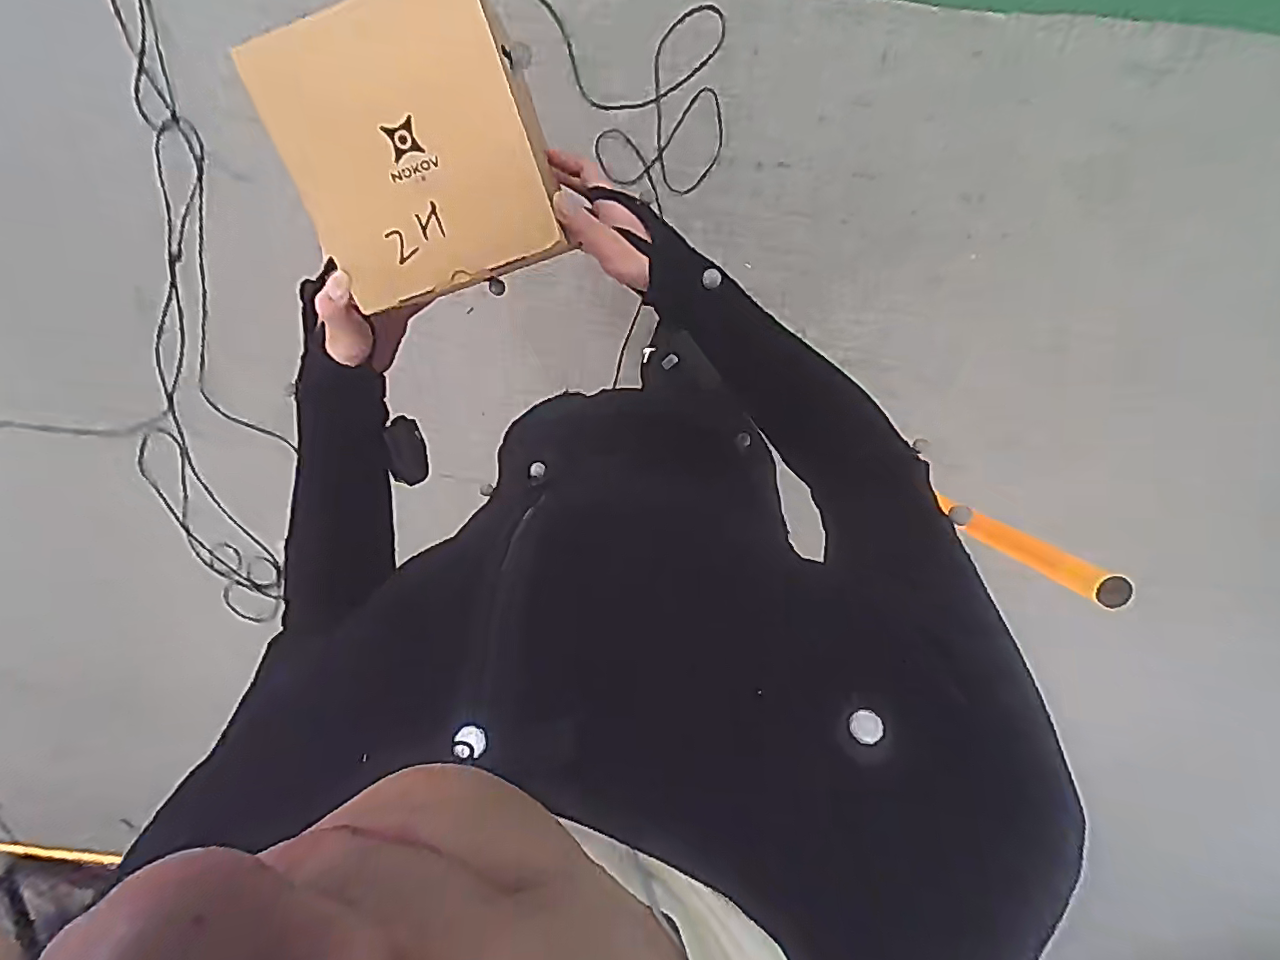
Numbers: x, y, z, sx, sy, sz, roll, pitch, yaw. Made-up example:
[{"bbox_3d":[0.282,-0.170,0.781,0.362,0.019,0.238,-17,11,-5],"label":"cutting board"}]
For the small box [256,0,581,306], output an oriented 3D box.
[{"bbox_3d":[-0.155,-0.261,0.452,0.168,0.176,0.179,-16,113,5],"label":"small box"}]
